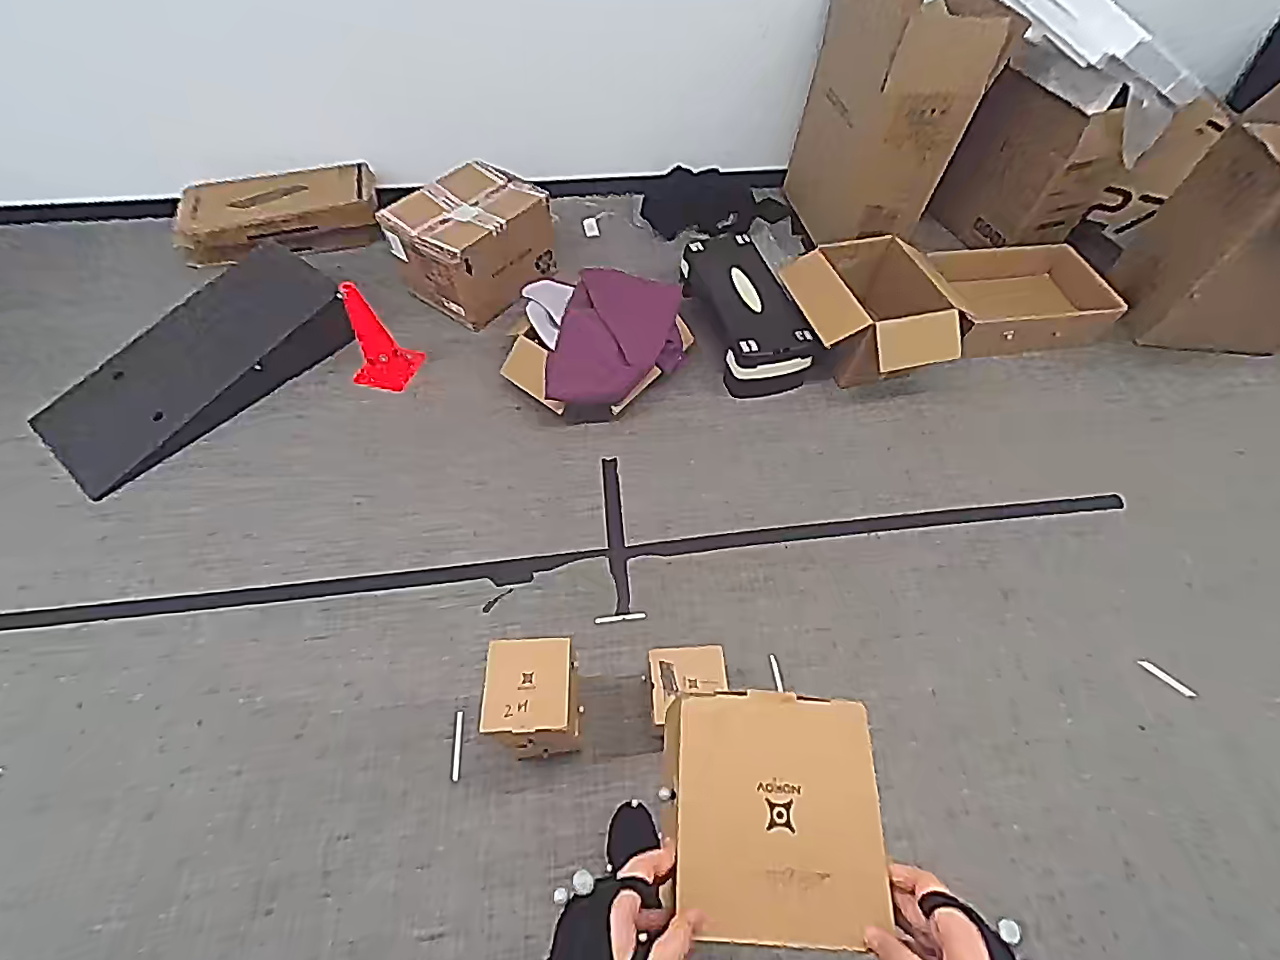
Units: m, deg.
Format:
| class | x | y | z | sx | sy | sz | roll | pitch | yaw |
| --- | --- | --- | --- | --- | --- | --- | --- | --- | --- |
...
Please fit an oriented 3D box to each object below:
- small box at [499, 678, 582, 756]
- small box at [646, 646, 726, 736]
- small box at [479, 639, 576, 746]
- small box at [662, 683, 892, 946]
| class | x | y | z | sx | sy | sz | roll | pitch | yaw |
| --- | --- | --- | --- | --- | --- | --- | --- | --- | --- |
| small box | -0.227 | 0.535 | 1.258 | 0.168 | 0.176 | 0.179 | -6 | 58 | -5 |
| small box | 0.105 | 0.505 | 1.287 | 0.179 | 0.176 | 0.168 | -2 | 57 | -4 |
| small box | -0.223 | 0.442 | 1.121 | 0.168 | 0.176 | 0.179 | -1 | 57 | -1 |
| small box | 0.109 | 0.302 | 0.511 | 0.168 | 0.176 | 0.179 | 4 | 61 | 1 |
